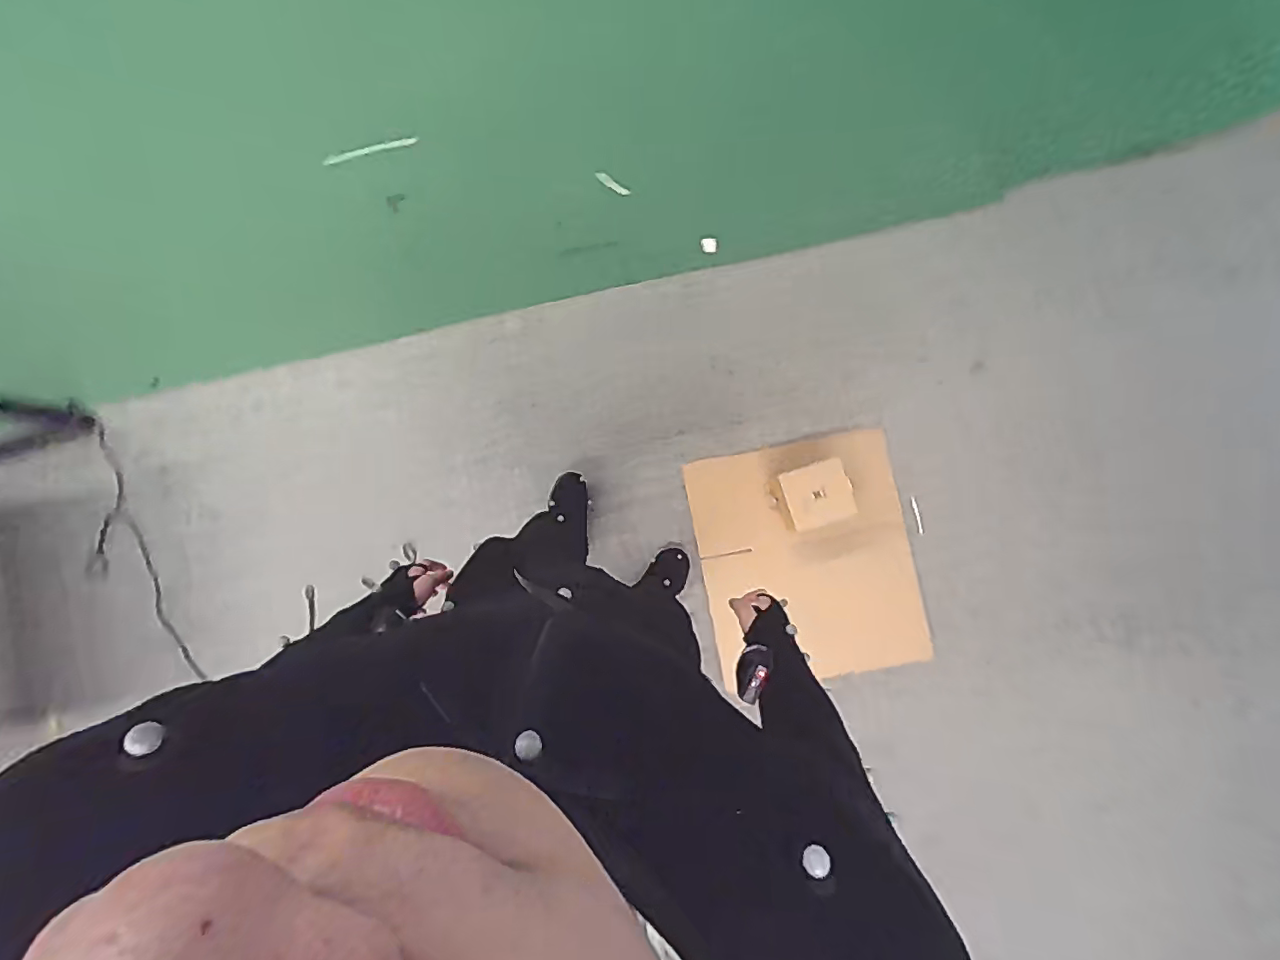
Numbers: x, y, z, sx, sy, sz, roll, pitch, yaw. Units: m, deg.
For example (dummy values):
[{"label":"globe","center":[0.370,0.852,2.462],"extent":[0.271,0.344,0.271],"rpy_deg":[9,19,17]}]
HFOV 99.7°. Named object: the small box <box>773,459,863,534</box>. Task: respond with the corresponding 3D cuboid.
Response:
[{"label":"small box","center":[0.491,0.048,1.516],"extent":[0.179,0.176,0.168],"rpy_deg":[-17,85,3]}]
